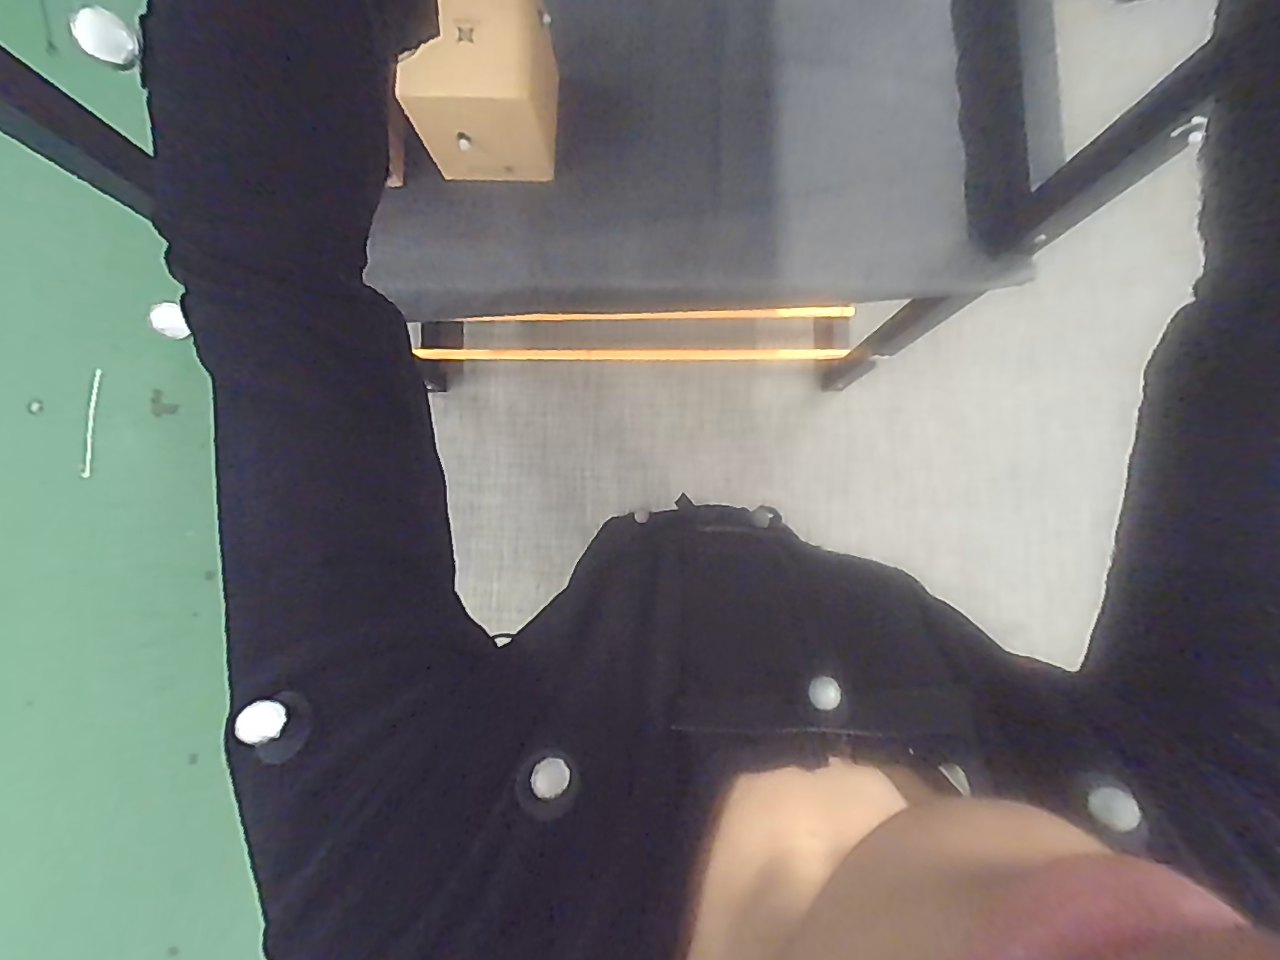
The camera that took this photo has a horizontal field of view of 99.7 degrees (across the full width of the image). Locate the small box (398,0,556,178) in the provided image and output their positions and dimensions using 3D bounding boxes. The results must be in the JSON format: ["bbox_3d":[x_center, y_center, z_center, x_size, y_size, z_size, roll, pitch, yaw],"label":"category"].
[{"bbox_3d":[-0.212,-0.547,0.748,0.168,0.176,0.179,1,85,1],"label":"small box"}]
